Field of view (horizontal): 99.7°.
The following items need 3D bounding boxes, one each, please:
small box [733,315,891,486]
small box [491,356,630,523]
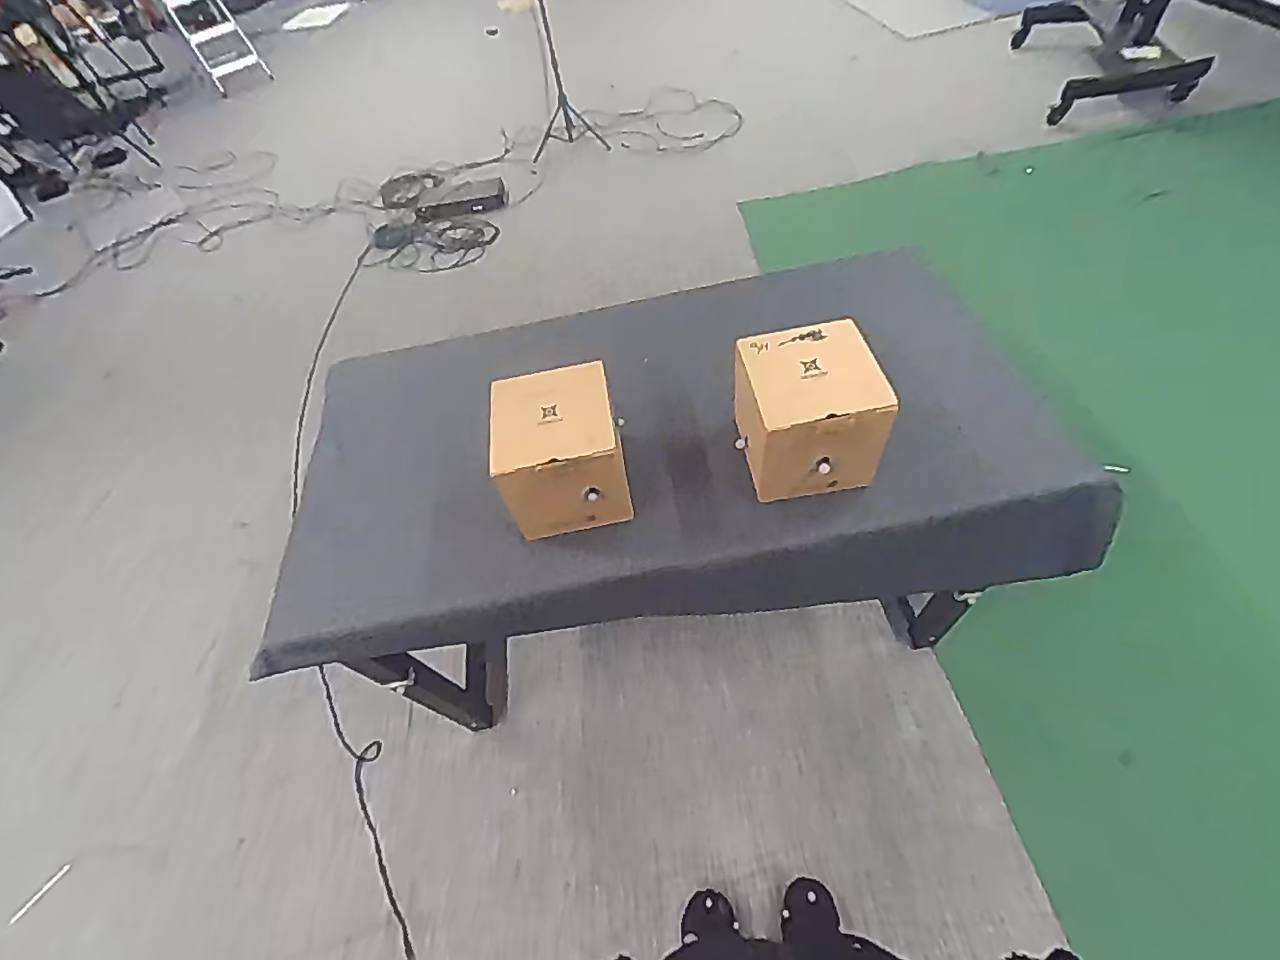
[{"bbox_3d":[0.234,-0.105,0.784,0.168,0.176,0.179,-10,55,2],"label":"small box"},{"bbox_3d":[-0.113,-0.051,0.801,0.168,0.176,0.179,-11,52,-1],"label":"small box"}]
